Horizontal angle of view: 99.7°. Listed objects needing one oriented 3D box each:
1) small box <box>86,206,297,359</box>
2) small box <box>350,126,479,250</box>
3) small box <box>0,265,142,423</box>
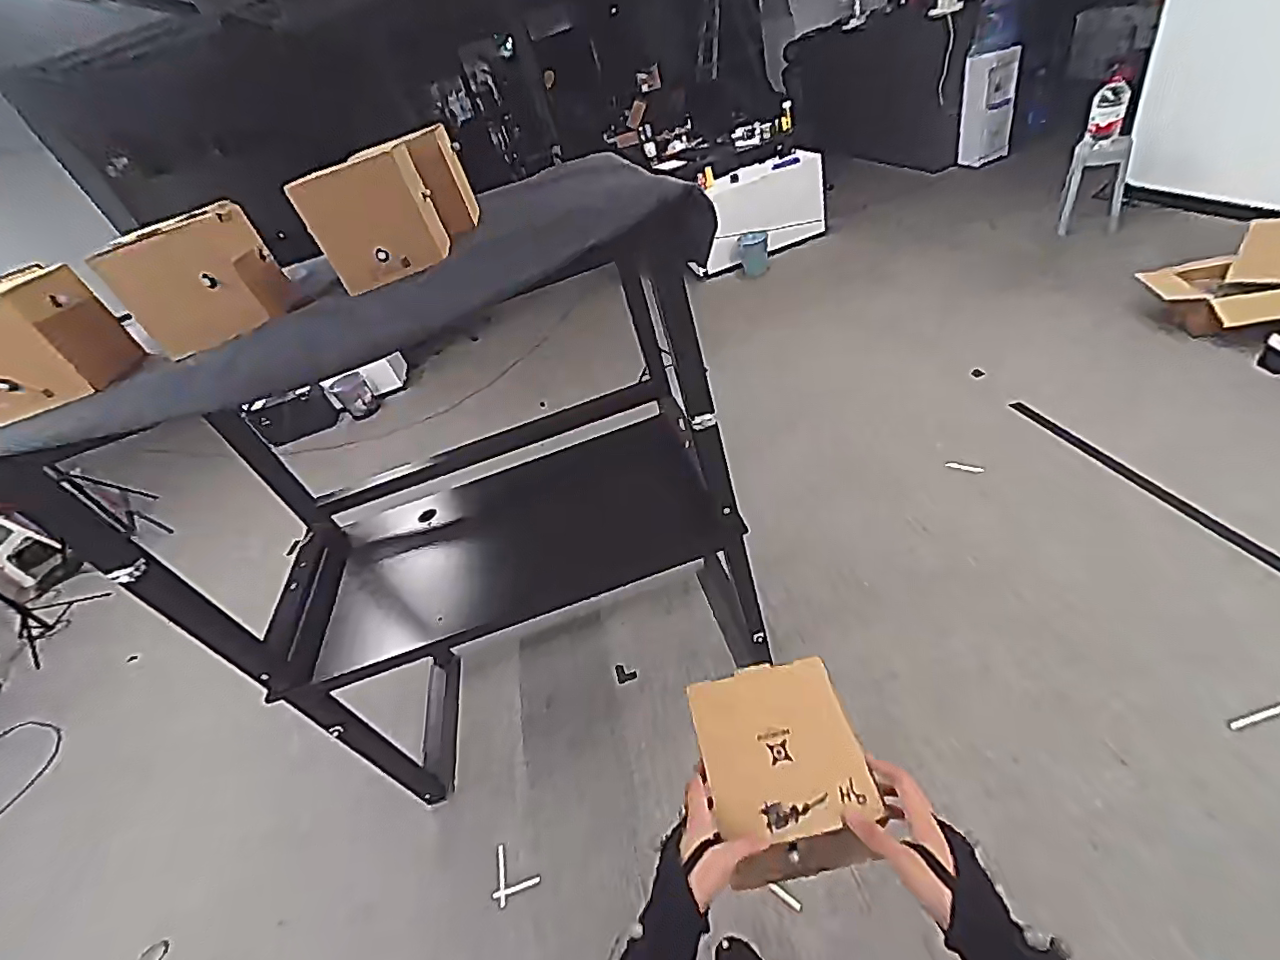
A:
[{"bbox_3d":[-0.708,-0.323,0.884,0.179,0.176,0.168,-20,36,-4],"label":"small box"},{"bbox_3d":[-0.430,-0.574,1.066,0.168,0.176,0.179,-20,38,1],"label":"small box"},{"bbox_3d":[-0.970,-0.218,0.868,0.168,0.176,0.179,-22,38,-3],"label":"small box"}]
